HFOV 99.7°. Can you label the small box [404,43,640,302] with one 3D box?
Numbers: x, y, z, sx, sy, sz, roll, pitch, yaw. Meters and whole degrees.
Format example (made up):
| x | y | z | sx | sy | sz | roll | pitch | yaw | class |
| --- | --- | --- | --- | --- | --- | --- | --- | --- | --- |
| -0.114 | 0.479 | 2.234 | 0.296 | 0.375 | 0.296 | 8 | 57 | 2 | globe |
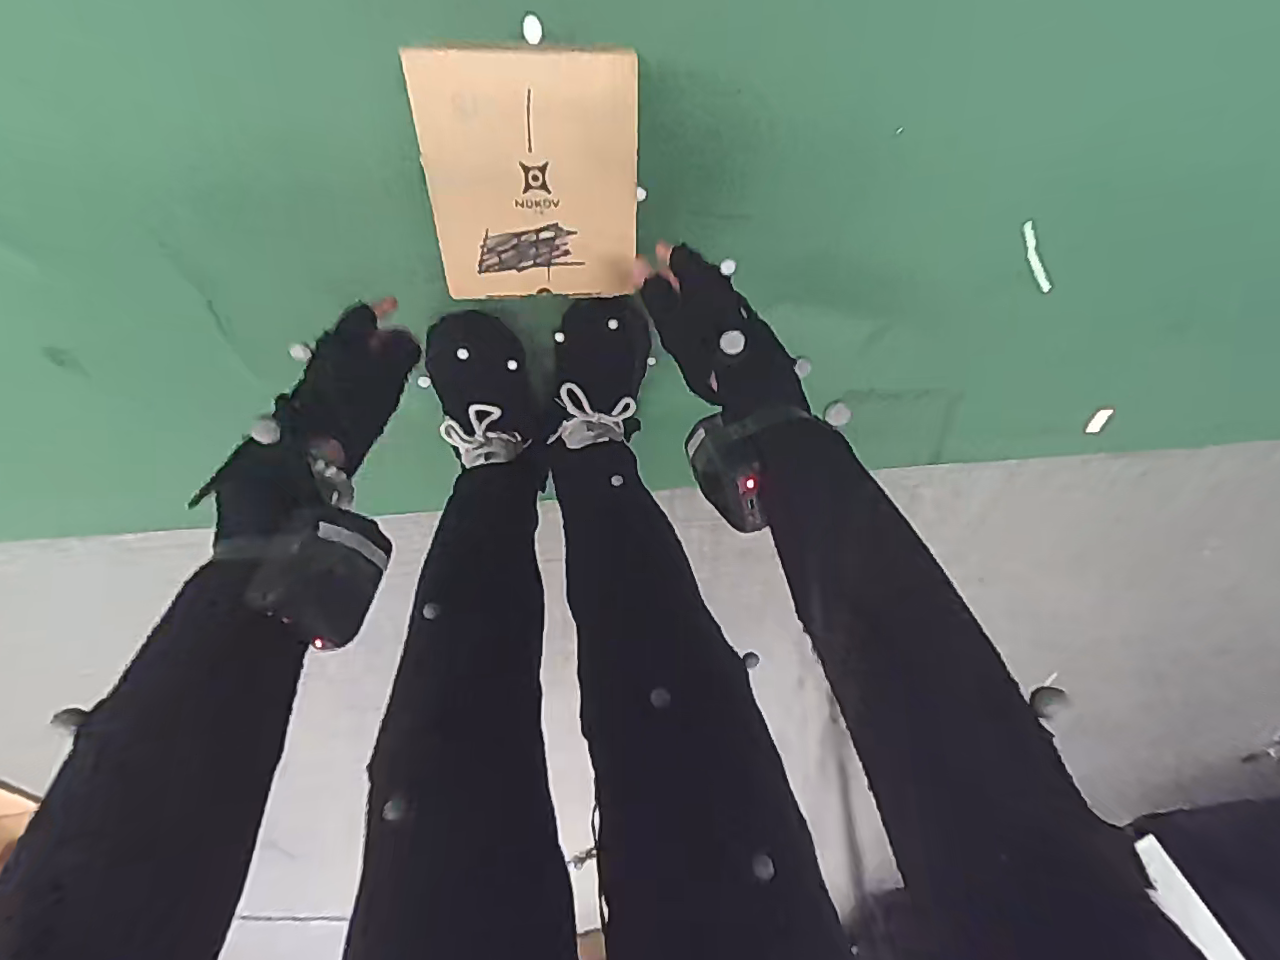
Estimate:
| x | y | z | sx | sy | sz | roll | pitch | yaw | class |
| --- | --- | --- | --- | --- | --- | --- | --- | --- | --- |
| -0.093 | -0.278 | 0.490 | 0.168 | 0.176 | 0.179 | -4 | 130 | -7 | small box |
